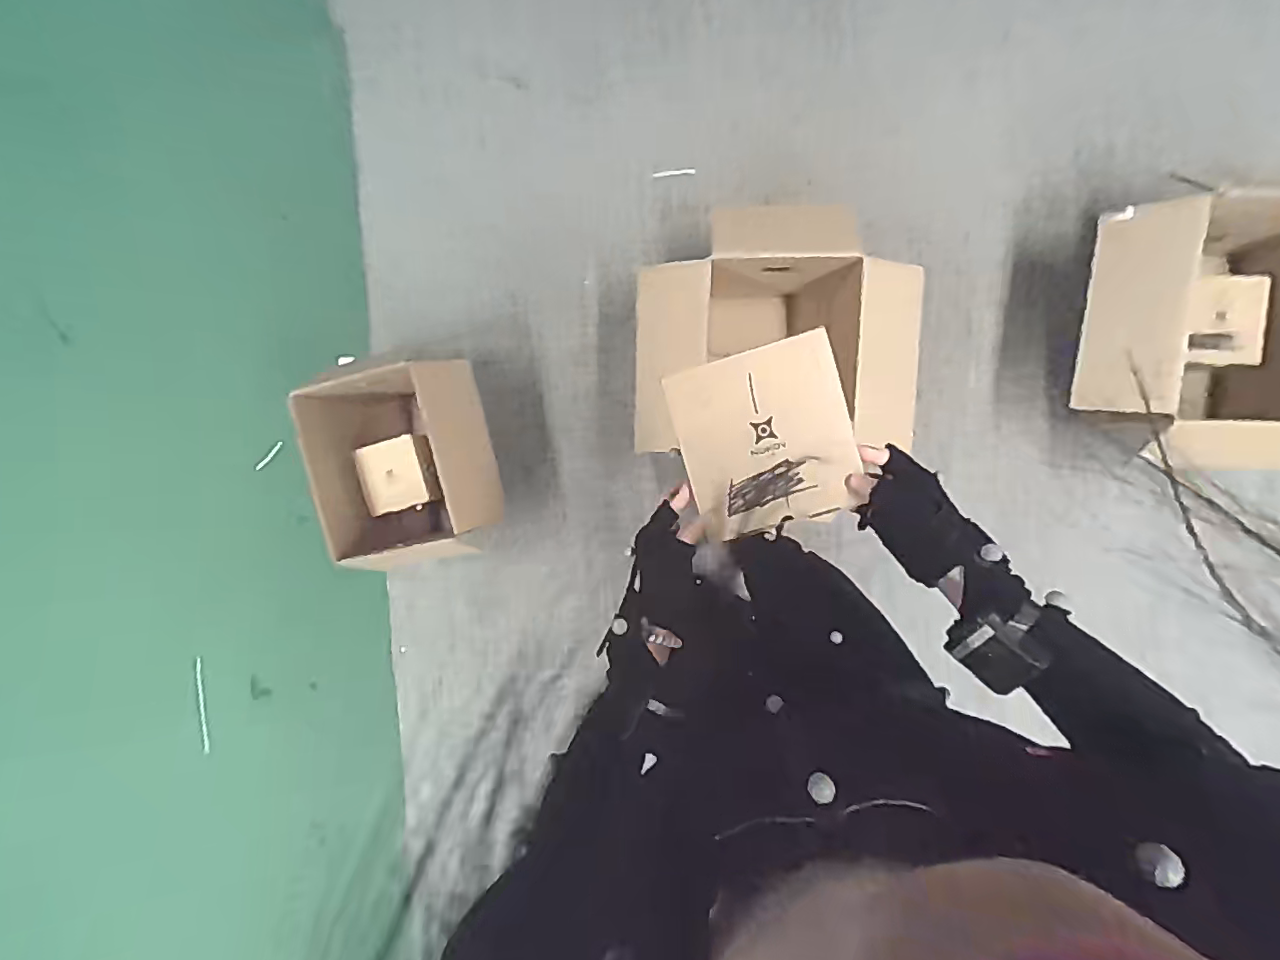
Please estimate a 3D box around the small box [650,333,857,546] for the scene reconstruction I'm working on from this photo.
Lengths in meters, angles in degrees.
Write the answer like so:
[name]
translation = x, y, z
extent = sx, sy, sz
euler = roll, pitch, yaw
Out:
[small box]
translation = 0.117, -0.046, 0.601
extent = 0.168, 0.176, 0.179
euler = -16, 94, 6
